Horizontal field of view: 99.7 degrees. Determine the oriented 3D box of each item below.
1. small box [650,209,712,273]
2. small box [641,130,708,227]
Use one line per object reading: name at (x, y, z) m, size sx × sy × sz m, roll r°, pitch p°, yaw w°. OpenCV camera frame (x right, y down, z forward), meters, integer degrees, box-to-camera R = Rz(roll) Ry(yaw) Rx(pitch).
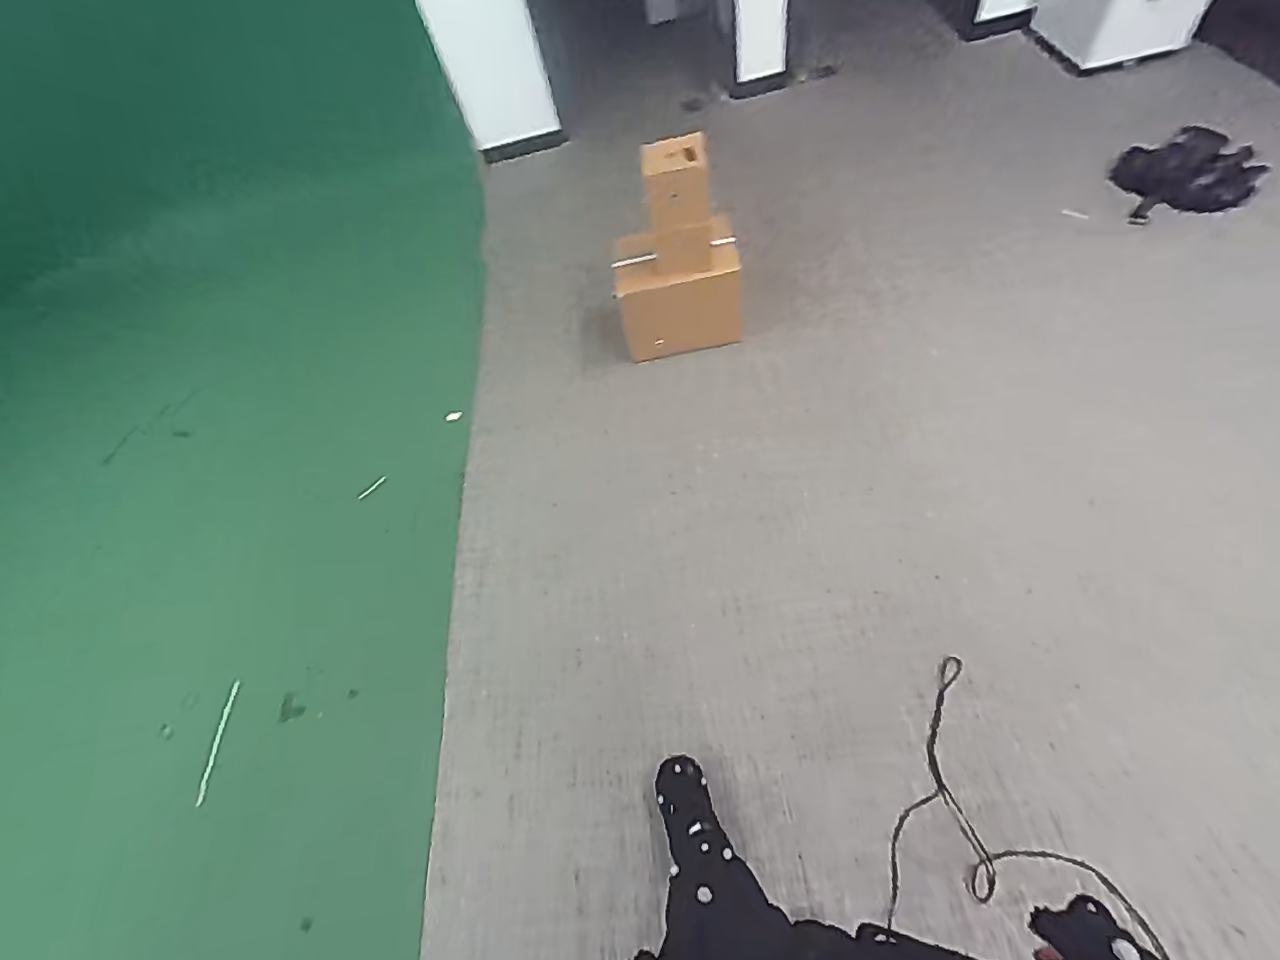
small box at (0.130, -0.770, 1.685) m, size 0.179 × 0.176 × 0.168 m, roll -4°, pitch 60°, yaw 8°
small box at (0.102, -0.856, 1.548) m, size 0.179 × 0.176 × 0.168 m, roll -6°, pitch 59°, yaw 10°
